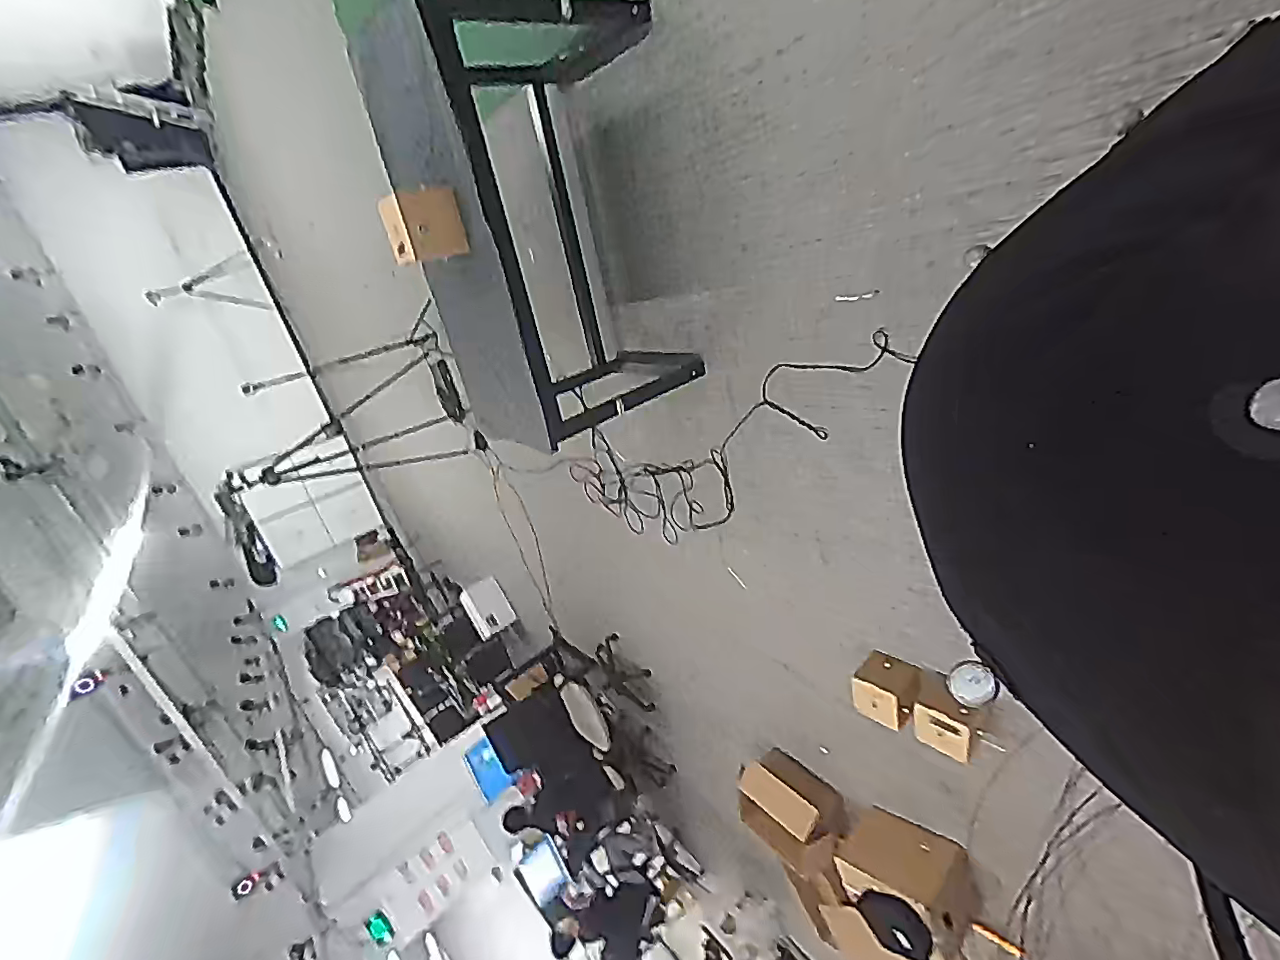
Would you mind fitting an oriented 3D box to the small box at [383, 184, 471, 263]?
[{"bbox_3d":[-0.616,-0.748,1.578,0.168,0.176,0.179,19,128,48],"label":"small box"}]

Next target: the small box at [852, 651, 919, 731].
[{"bbox_3d":[0.899,0.763,1.972,0.168,0.176,0.179,13,124,50],"label":"small box"}]
